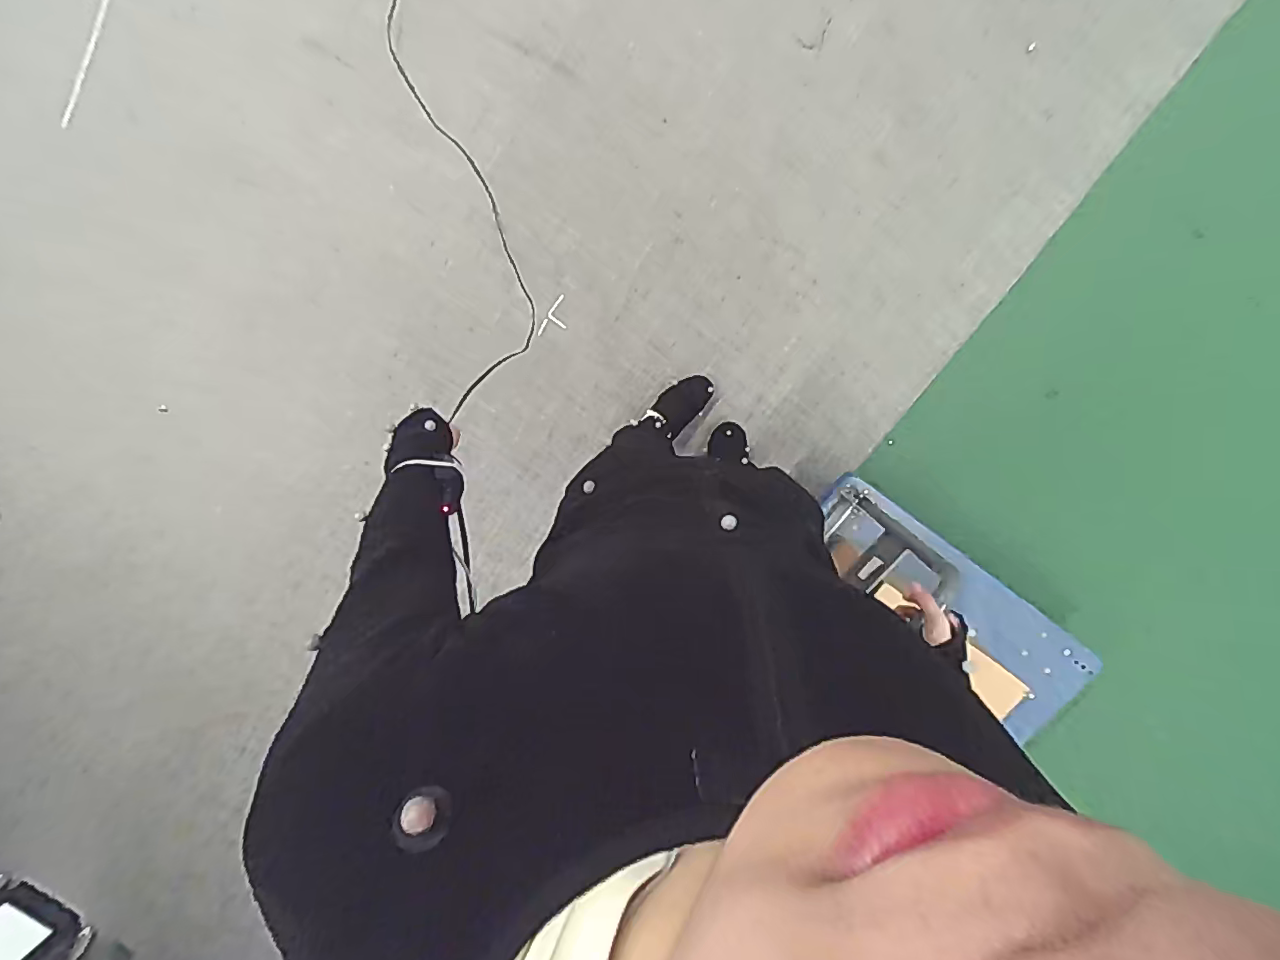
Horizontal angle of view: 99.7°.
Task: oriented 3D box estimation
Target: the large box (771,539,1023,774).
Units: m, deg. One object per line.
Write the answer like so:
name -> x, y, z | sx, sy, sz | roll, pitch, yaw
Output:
large box -> 0.594, 0.411, 1.336 | 0.408, 0.320, 0.320 | 36, 103, -3
